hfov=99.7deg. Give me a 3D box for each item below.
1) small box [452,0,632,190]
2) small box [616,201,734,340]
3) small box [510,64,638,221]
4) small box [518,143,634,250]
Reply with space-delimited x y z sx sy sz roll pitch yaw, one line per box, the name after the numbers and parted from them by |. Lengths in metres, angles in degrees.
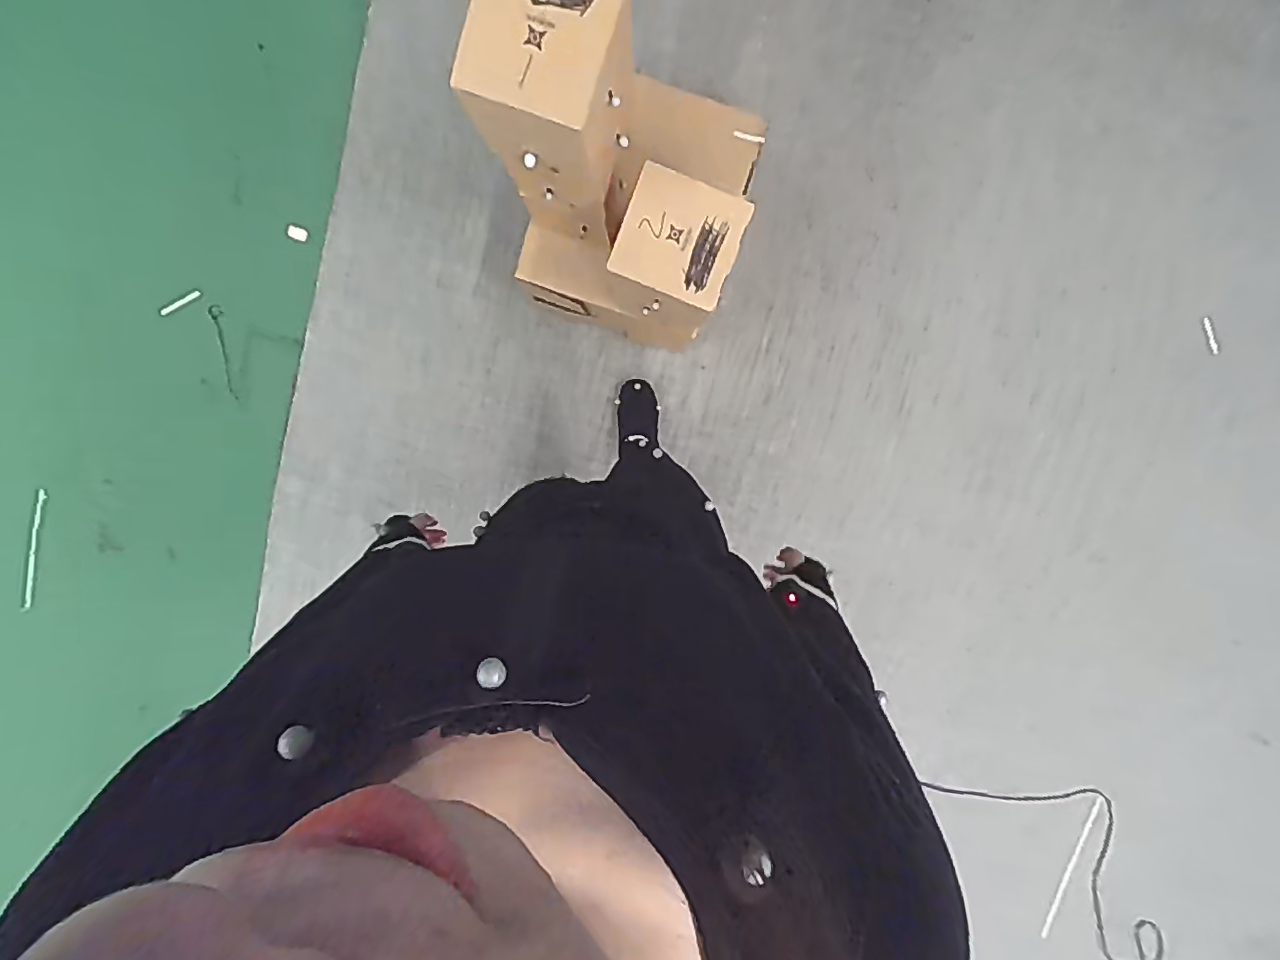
-0.114 -0.518 0.699 0.168 0.176 0.179 19 97 -1 | small box
0.060 -0.390 1.037 0.168 0.176 0.179 21 95 -2 | small box
-0.108 -0.548 0.860 0.168 0.176 0.179 19 98 -1 | small box
-0.111 -0.564 1.023 0.168 0.176 0.179 19 95 -1 | small box
